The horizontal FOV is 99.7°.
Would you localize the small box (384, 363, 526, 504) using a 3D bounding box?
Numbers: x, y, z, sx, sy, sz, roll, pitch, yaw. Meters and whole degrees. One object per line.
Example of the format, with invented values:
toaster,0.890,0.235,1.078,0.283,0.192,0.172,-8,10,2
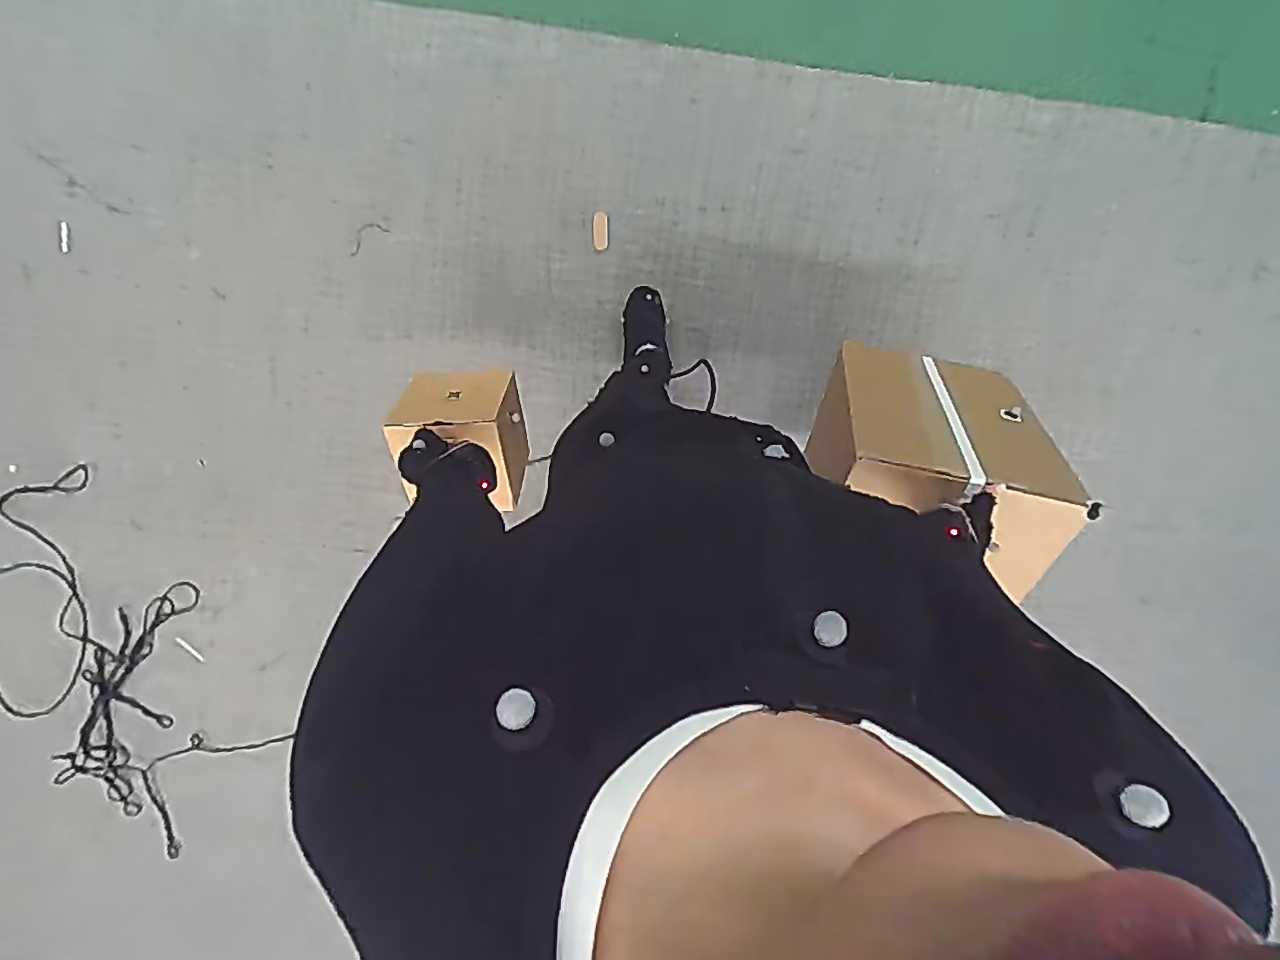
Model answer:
small box,-0.290,-0.078,0.892,0.168,0.179,0.176,-3,128,0
